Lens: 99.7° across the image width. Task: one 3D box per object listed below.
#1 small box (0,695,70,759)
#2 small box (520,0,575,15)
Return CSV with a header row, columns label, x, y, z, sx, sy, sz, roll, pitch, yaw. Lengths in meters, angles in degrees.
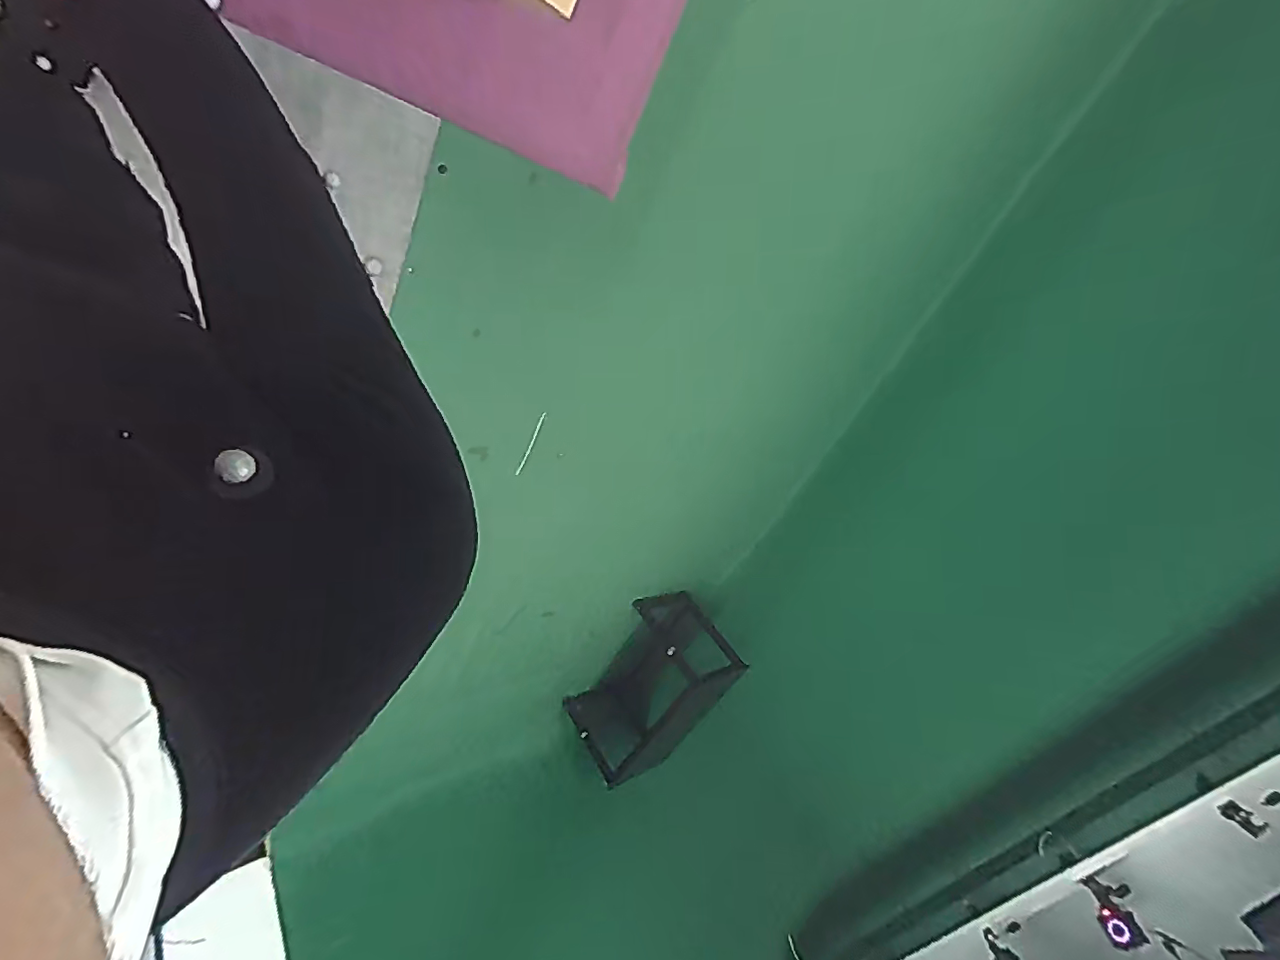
label,x,y,z,sx,sy,sz,roll,pitch,yaw
small box,-1.906,0.806,1.680,0.168,0.176,0.179,-6,135,-41
small box,-0.134,-0.589,0.499,0.168,0.176,0.179,2,128,-45
